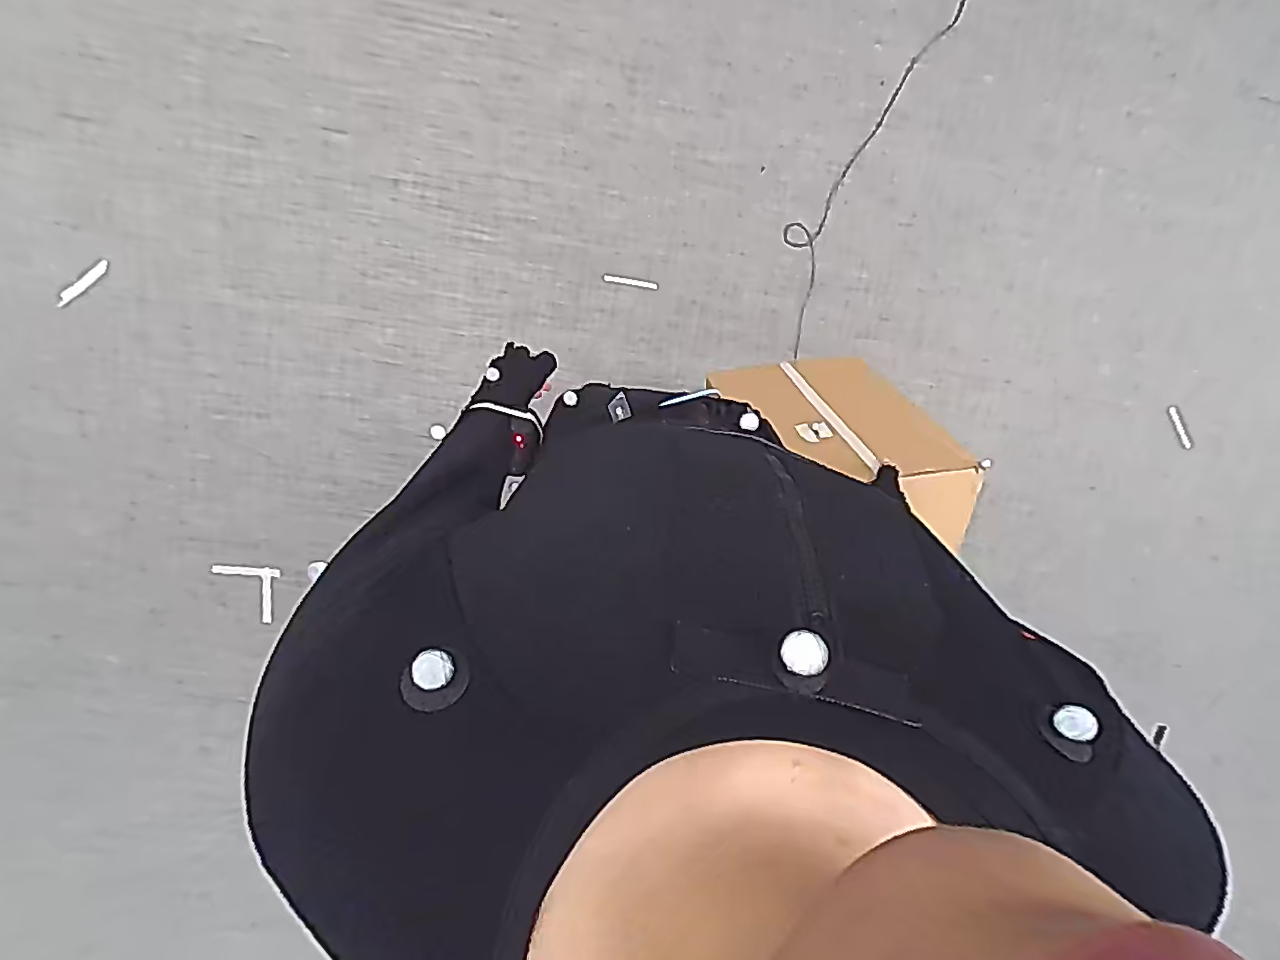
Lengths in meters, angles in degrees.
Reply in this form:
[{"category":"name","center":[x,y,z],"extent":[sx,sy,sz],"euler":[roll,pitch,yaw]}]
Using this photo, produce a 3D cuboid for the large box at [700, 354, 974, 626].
[{"category":"large box","center":[0.309,0.001,1.010],"extent":[0.320,0.408,0.320],"euler":[-8,128,-4]}]
